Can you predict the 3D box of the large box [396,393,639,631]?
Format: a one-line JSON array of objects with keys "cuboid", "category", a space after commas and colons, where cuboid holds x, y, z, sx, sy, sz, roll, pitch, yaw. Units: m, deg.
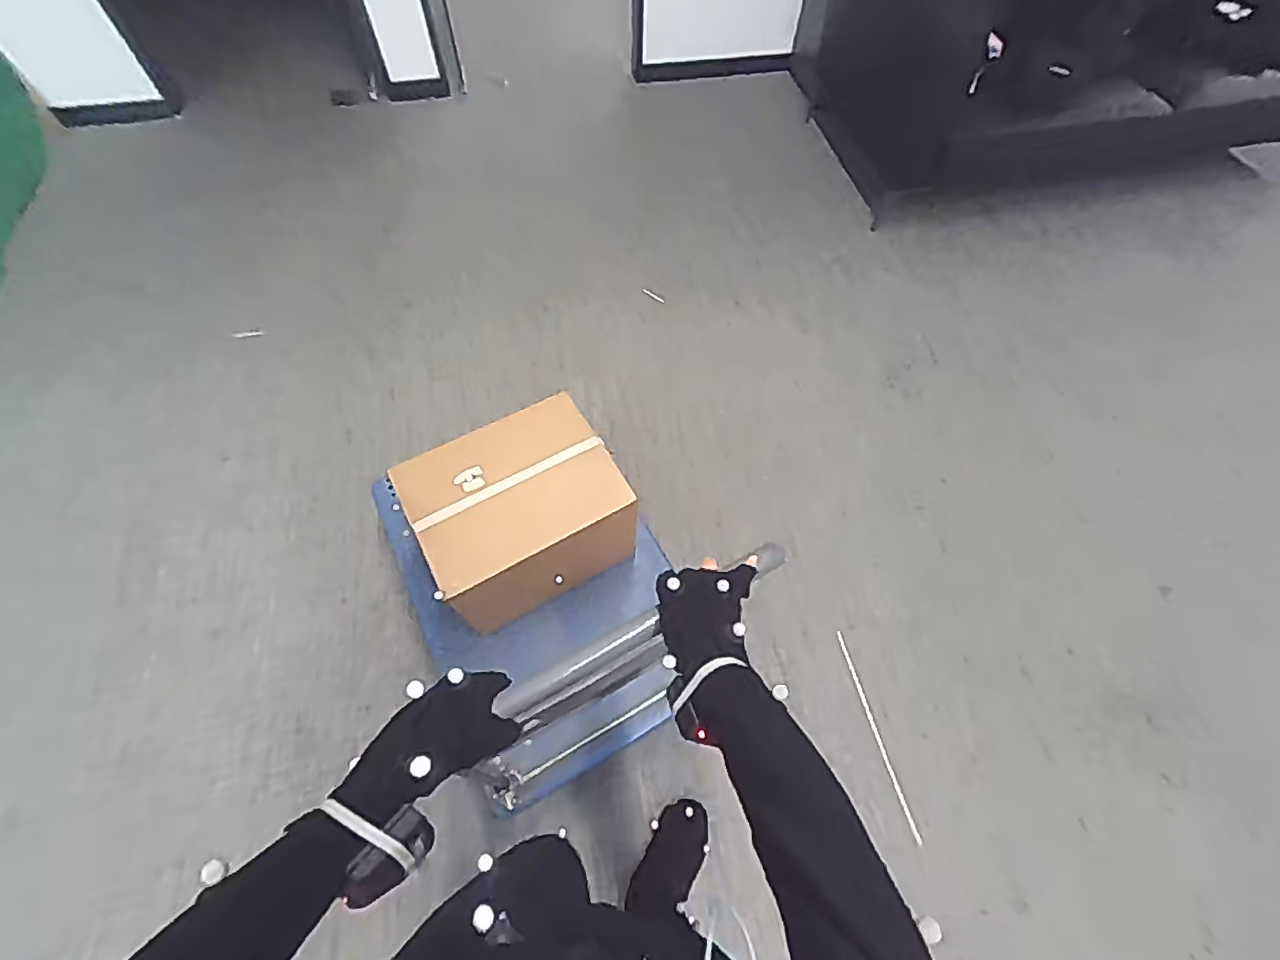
[{"cuboid": [-0.250, 0.079, 1.215, 0.408, 0.320, 0.320, -28, 66, -15], "category": "large box"}]
